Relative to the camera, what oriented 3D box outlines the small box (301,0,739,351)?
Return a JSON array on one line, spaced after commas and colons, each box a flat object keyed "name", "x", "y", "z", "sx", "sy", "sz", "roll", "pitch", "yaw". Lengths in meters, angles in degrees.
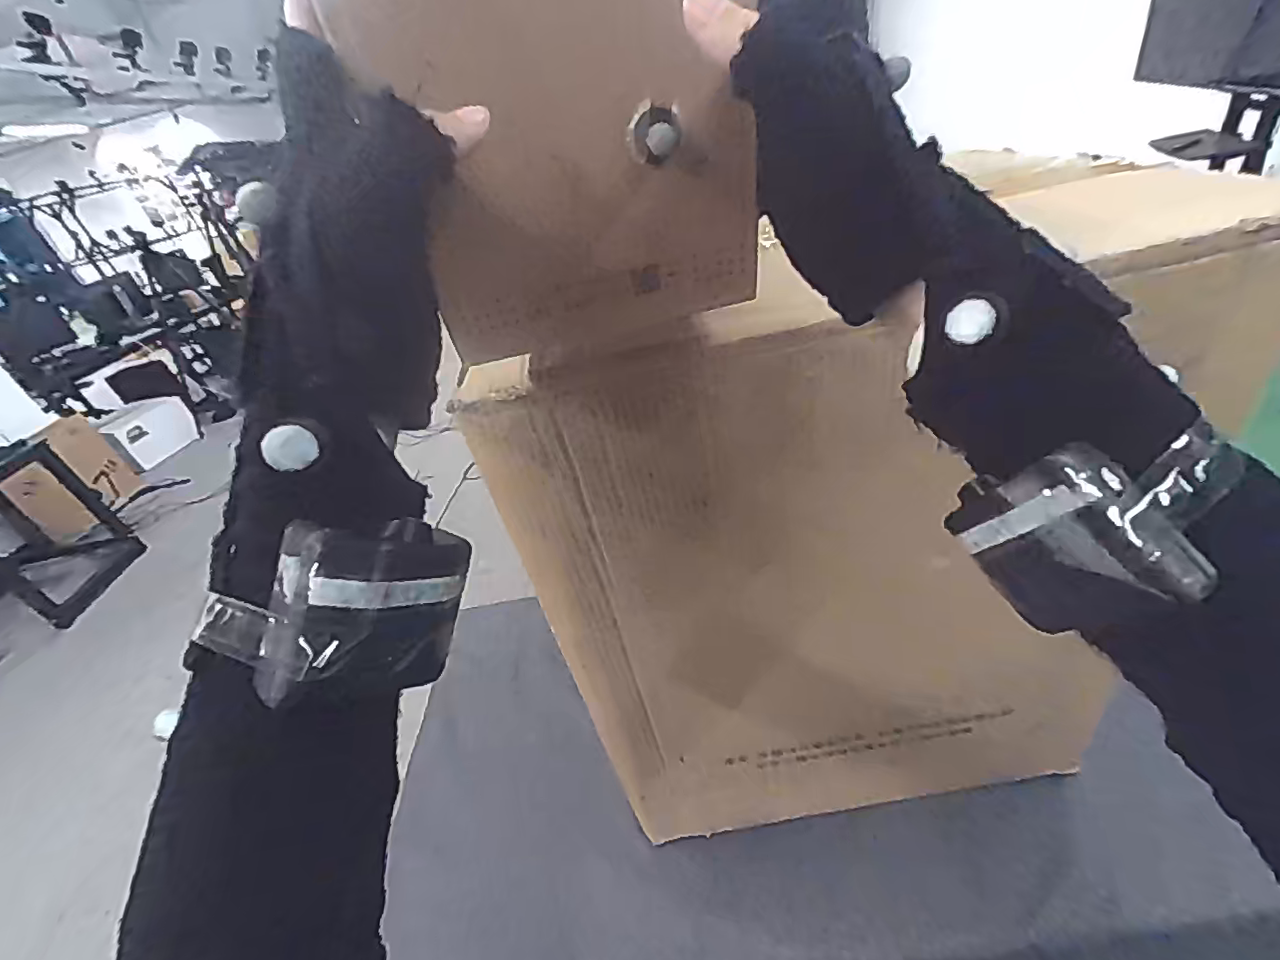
[{"name": "small box", "x": -0.046, "y": -0.188, "z": 0.307, "sx": 0.168, "sy": 0.176, "sz": 0.179, "roll": -13, "pitch": 42, "yaw": -3}]
